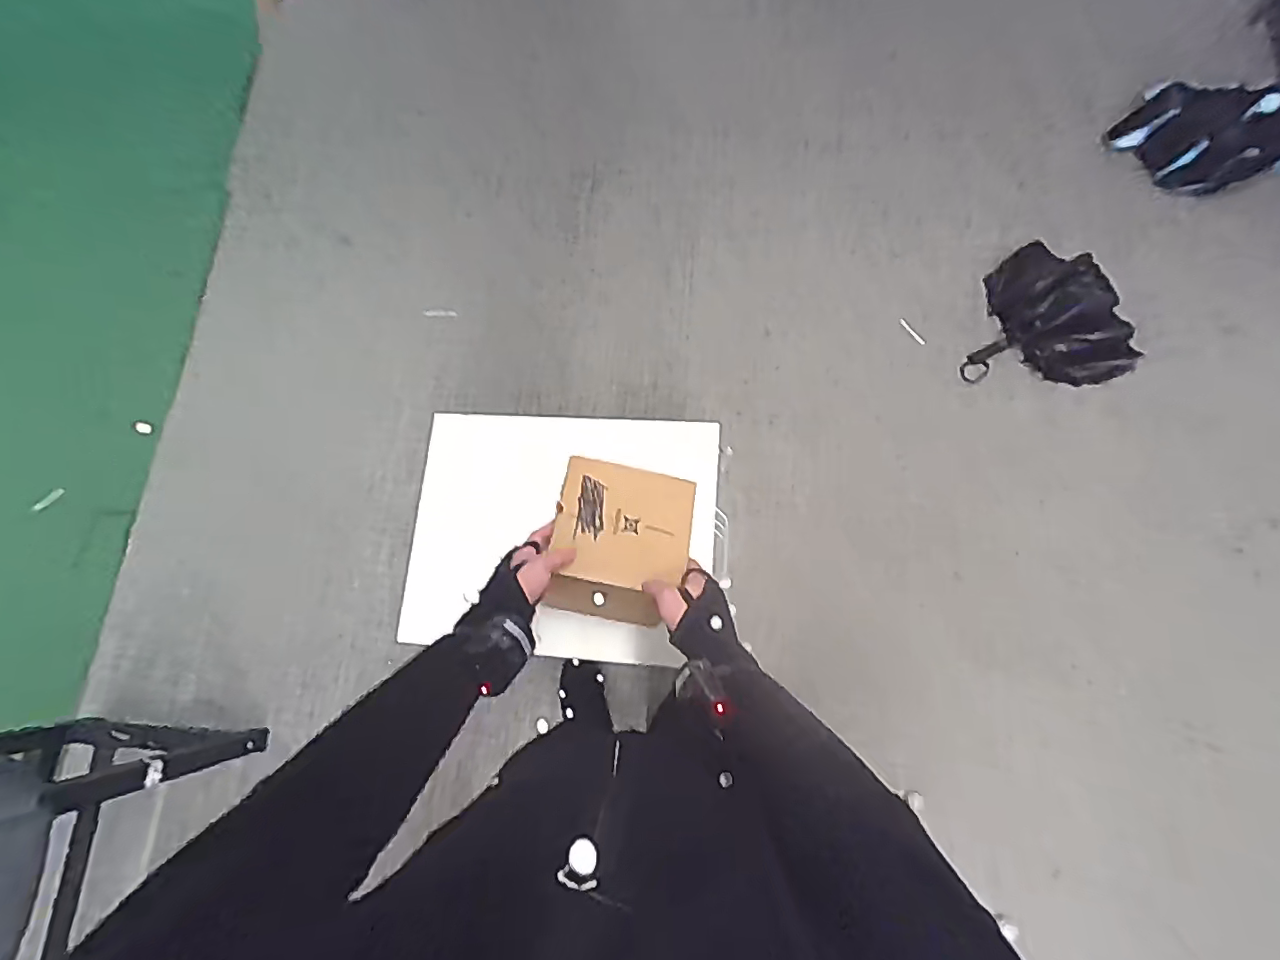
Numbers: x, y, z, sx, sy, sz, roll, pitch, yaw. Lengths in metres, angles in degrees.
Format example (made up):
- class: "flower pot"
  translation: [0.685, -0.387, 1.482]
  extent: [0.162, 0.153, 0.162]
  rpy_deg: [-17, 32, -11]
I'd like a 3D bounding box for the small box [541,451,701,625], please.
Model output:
- class: "small box"
  translation: [-0.031, 0.087, 0.735]
  extent: [0.179, 0.176, 0.168]
  rpy_deg: [13, 60, -8]
